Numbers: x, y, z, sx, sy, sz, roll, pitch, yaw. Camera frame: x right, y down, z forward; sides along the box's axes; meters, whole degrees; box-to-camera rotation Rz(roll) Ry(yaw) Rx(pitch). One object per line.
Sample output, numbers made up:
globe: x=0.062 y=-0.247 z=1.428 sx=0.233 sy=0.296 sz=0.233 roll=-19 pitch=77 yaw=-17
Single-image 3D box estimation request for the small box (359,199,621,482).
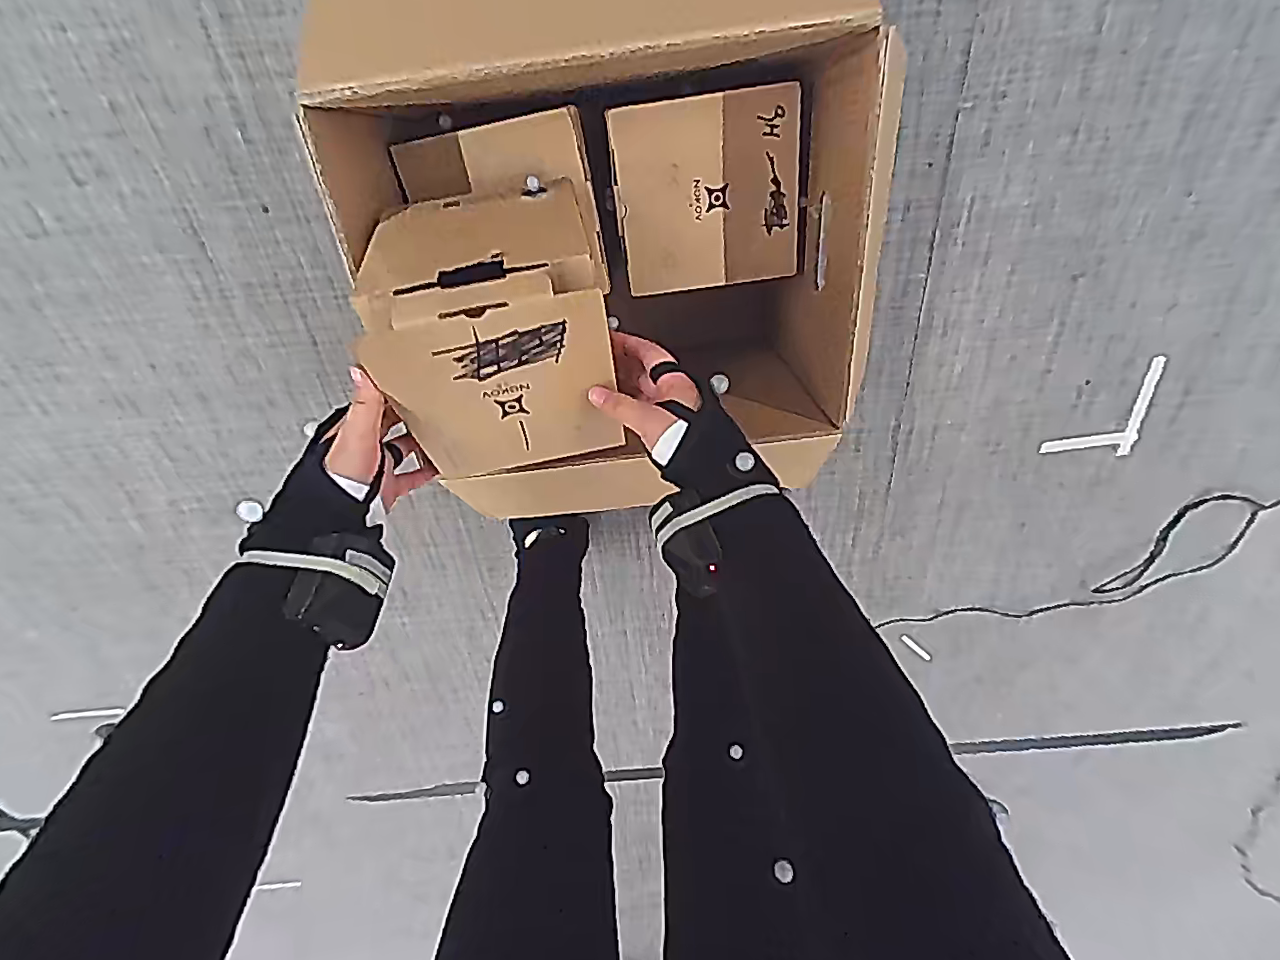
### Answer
small box: x=-0.119 y=-0.130 z=0.481 sx=0.168 sy=0.176 sz=0.179 roll=-12 pitch=137 yaw=-3
